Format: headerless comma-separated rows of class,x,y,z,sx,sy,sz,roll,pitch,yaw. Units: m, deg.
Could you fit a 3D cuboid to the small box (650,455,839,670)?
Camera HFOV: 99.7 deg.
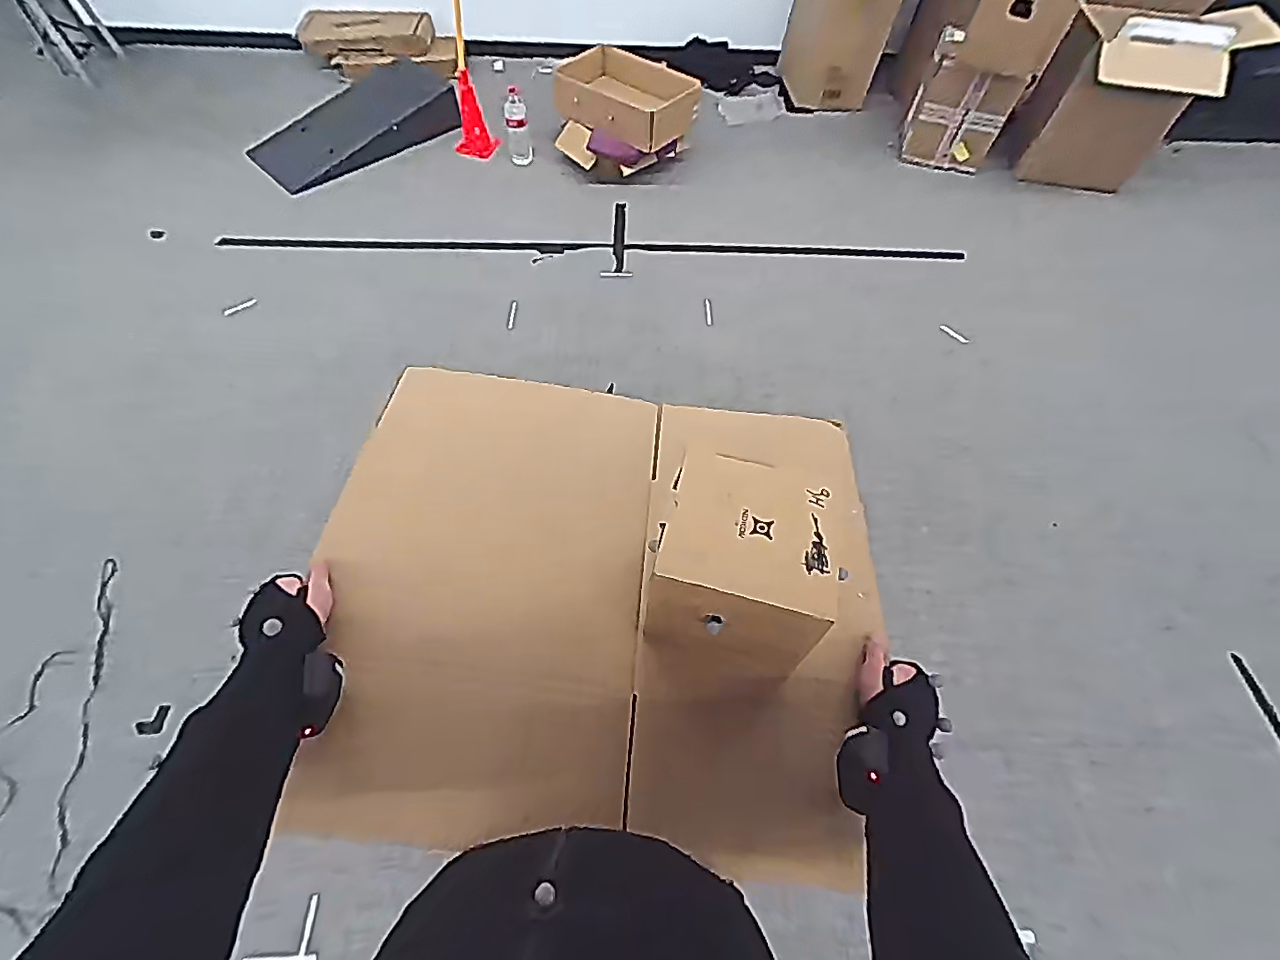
small box,0.112,0.099,0.620,0.179,0.176,0.168,13,54,8
